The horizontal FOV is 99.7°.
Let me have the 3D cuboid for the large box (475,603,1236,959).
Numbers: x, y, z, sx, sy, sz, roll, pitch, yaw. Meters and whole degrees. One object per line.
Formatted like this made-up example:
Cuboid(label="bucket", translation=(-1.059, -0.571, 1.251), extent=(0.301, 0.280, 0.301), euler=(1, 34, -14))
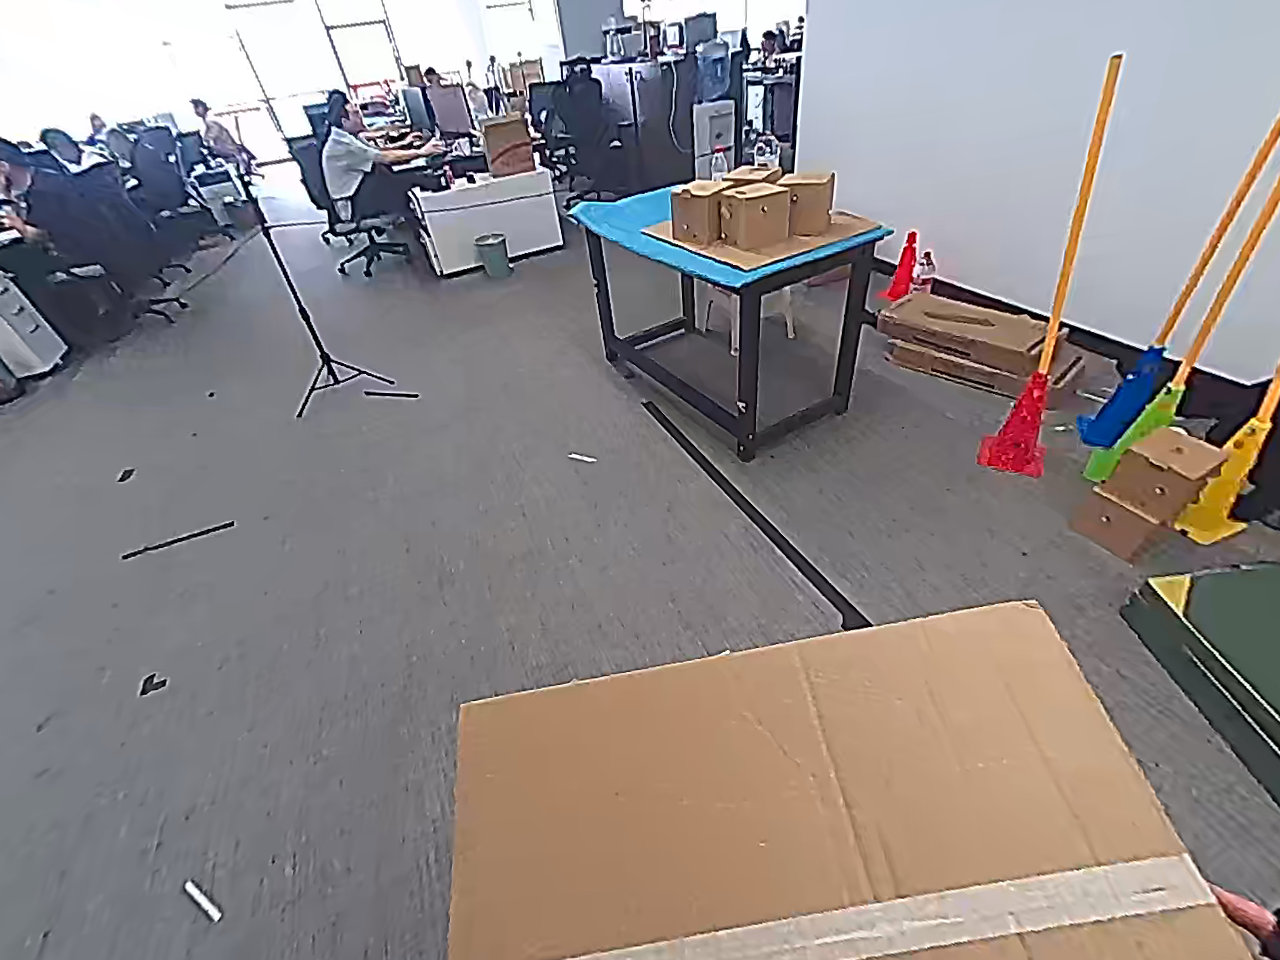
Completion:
Cuboid(label="large box", translation=(0.119, 0.332, 0.422), extent=(0.408, 0.320, 0.320), euler=(-12, 57, 2))
